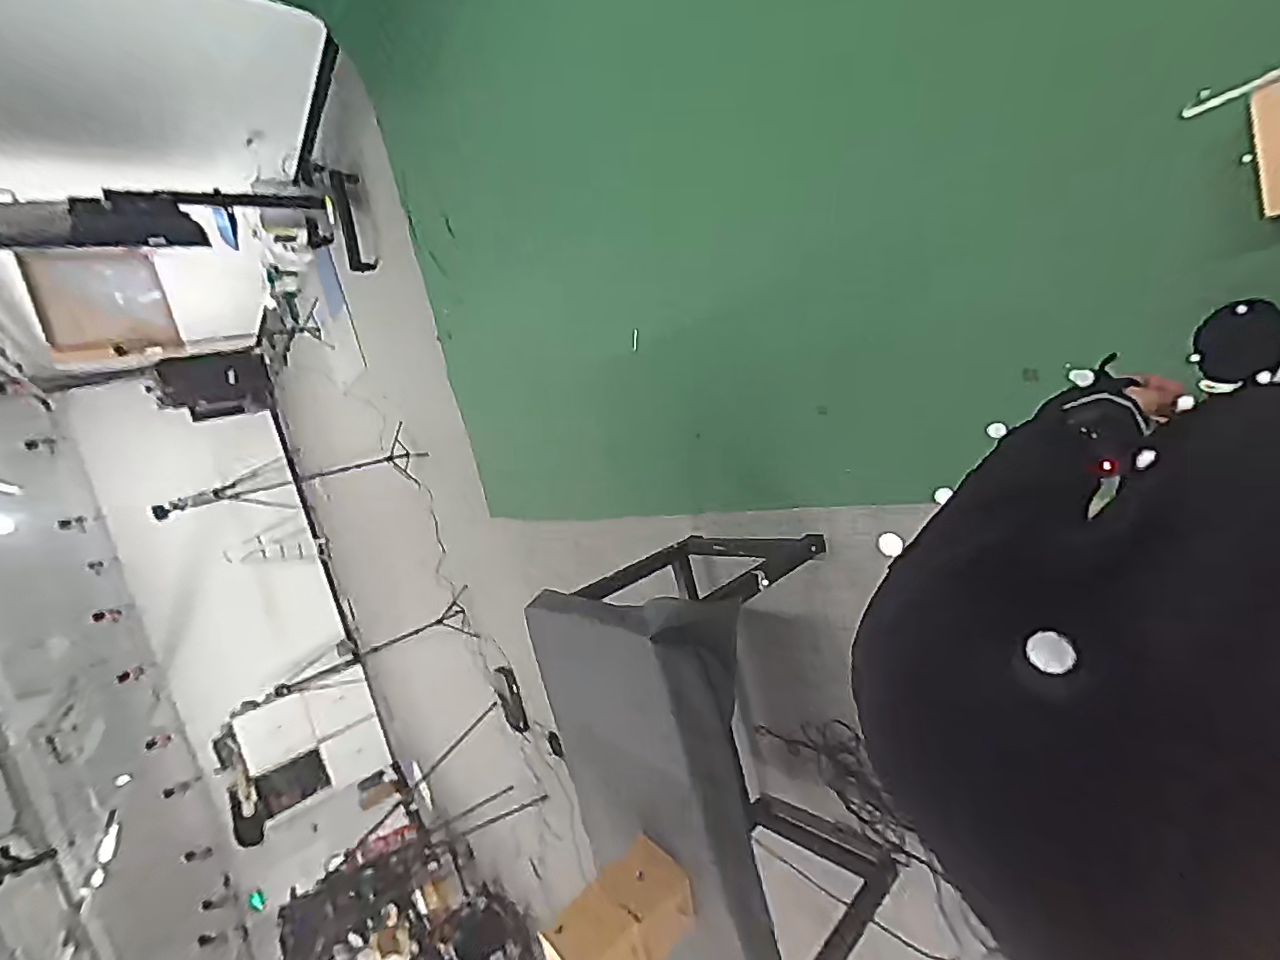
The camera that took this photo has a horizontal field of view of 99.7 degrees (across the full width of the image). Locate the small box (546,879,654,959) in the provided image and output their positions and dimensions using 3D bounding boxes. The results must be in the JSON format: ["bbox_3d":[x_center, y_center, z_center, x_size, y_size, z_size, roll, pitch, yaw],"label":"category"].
[{"bbox_3d":[-0.085,1.083,1.251,0.179,0.176,0.168,-4,104,51],"label":"small box"}]

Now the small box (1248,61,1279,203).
[{"bbox_3d":[0.964,-0.501,0.738,0.168,0.176,0.179,-8,101,52],"label":"small box"}]
